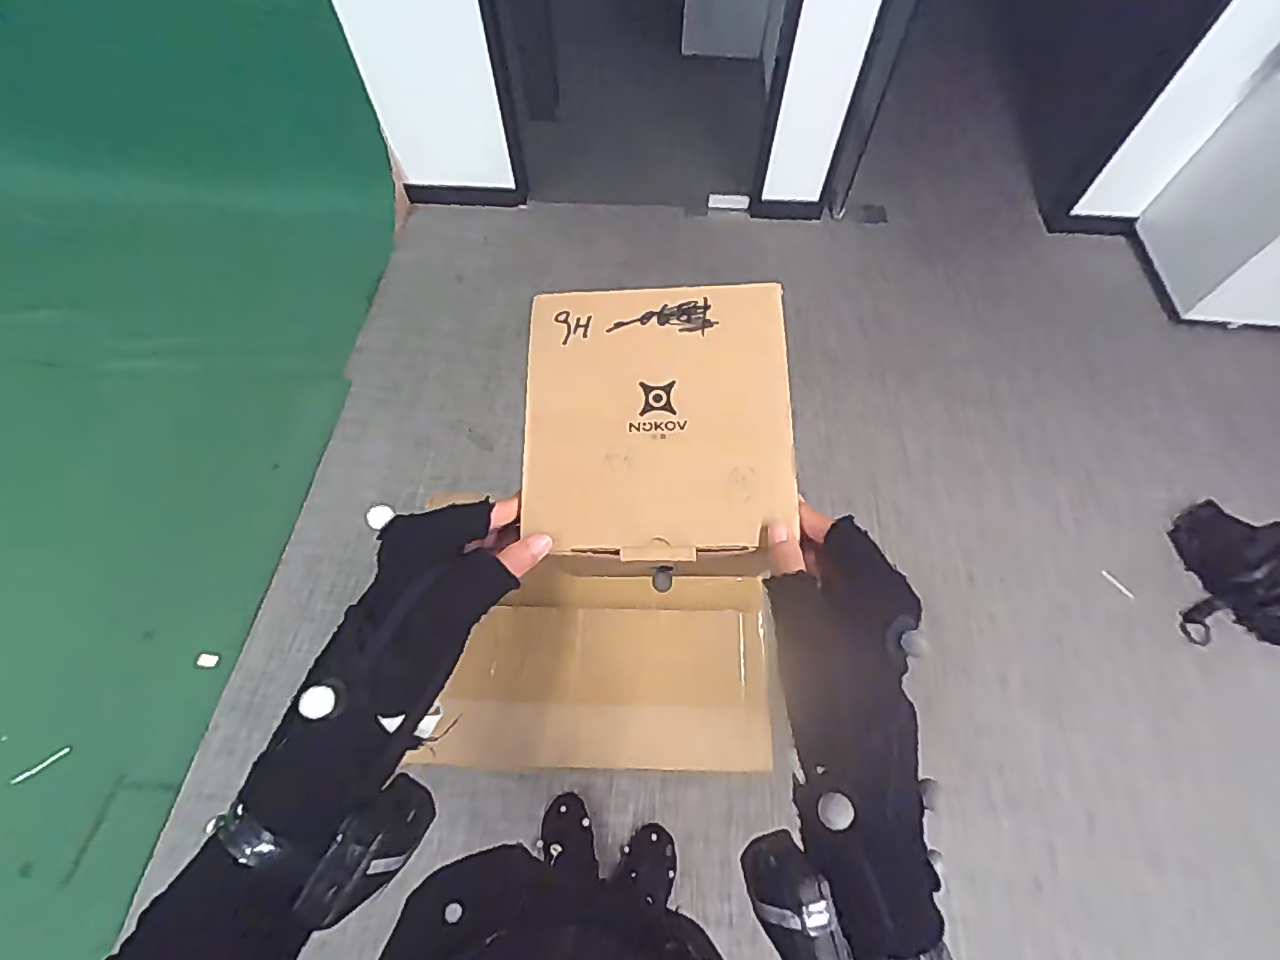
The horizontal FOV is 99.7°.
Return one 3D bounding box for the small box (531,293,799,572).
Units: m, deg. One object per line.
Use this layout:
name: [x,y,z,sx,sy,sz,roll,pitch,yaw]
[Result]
small box: [0.020,-0.020,0.420,0.168,0.176,0.179,-1,76,3]
